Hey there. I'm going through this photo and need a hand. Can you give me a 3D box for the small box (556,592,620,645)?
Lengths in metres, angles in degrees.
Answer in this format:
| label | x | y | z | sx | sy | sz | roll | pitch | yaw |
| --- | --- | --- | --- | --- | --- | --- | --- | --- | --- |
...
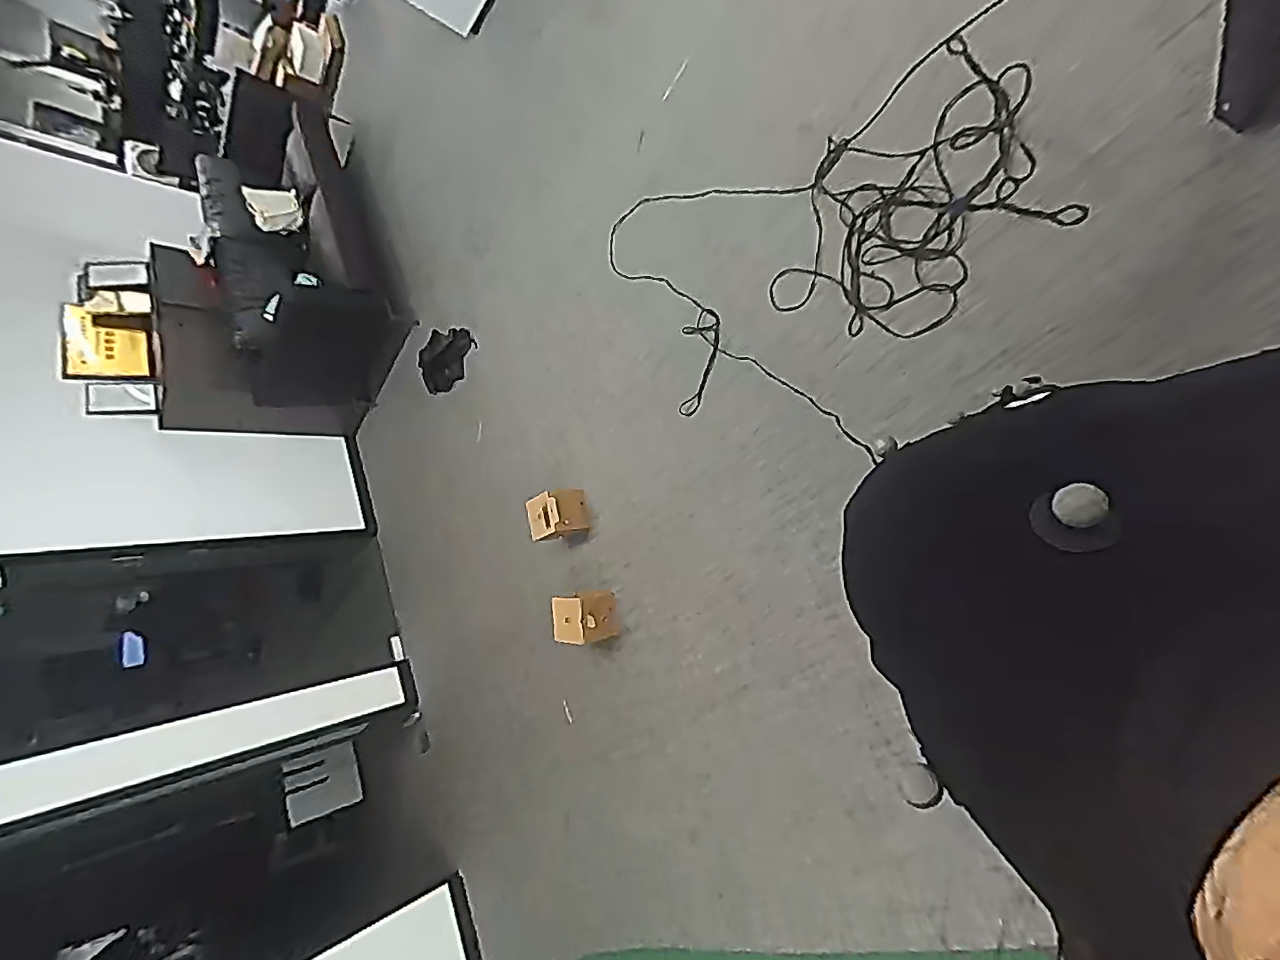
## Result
| label | x | y | z | sx | sy | sz | roll | pitch | yaw |
| --- | --- | --- | --- | --- | --- | --- | --- | --- | --- |
| small box | -0.199 | 0.524 | 2.061 | 0.179 | 0.176 | 0.168 | -10 | 83 | 44 |
